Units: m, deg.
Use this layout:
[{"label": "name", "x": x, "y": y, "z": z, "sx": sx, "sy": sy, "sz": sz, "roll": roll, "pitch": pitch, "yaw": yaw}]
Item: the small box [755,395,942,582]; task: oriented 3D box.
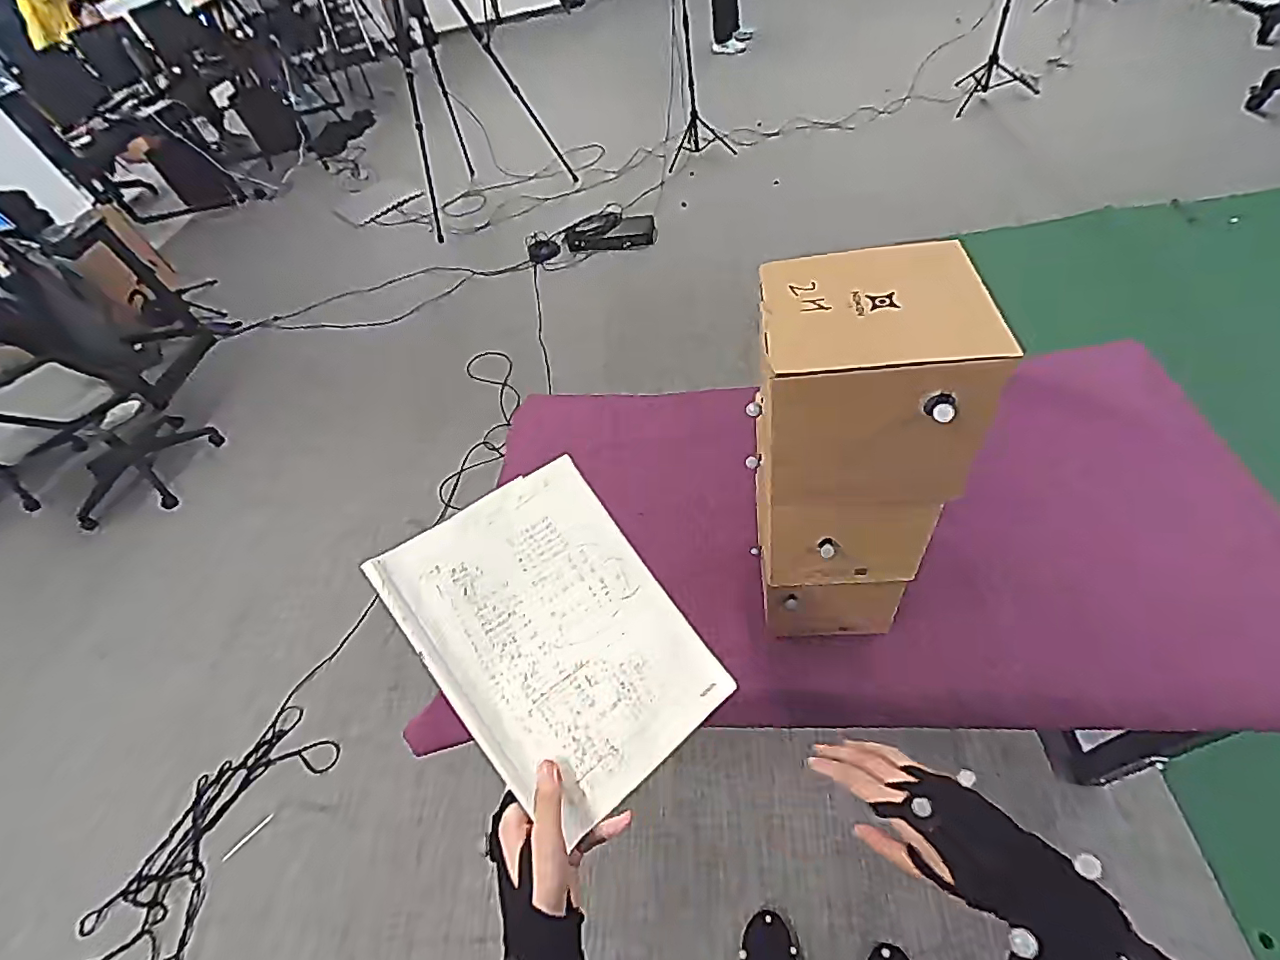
[{"label": "small box", "x": 0.227, "y": 0.011, "z": 0.635, "sx": 0.168, "sy": 0.176, "sz": 0.179, "roll": -4, "pitch": 50, "yaw": 10}]

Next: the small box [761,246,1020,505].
[{"label": "small box", "x": 0.206, "y": -0.089, "z": 0.505, "sx": 0.179, "sy": 0.176, "sz": 0.168, "roll": -3, "pitch": 49, "yaw": 12}]
